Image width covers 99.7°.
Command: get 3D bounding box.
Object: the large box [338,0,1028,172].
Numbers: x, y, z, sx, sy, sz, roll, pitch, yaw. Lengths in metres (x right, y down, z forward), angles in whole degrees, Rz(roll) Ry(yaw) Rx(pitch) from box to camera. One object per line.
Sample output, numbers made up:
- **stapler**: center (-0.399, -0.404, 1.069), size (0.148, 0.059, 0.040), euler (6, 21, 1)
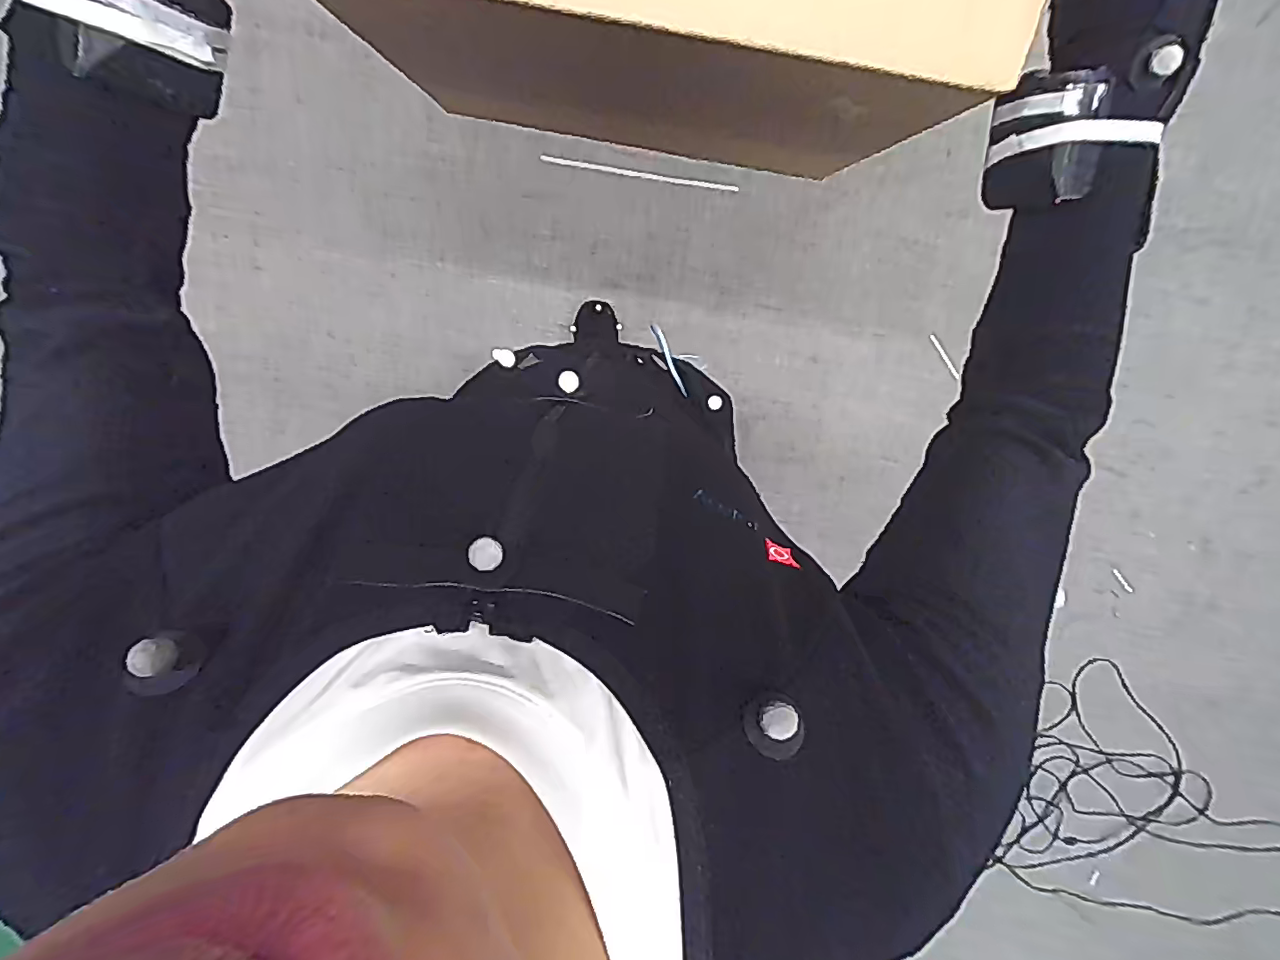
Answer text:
- **large box**: center (0.026, -0.442, 0.380), size (0.408, 0.320, 0.320), euler (7, 112, -4)
